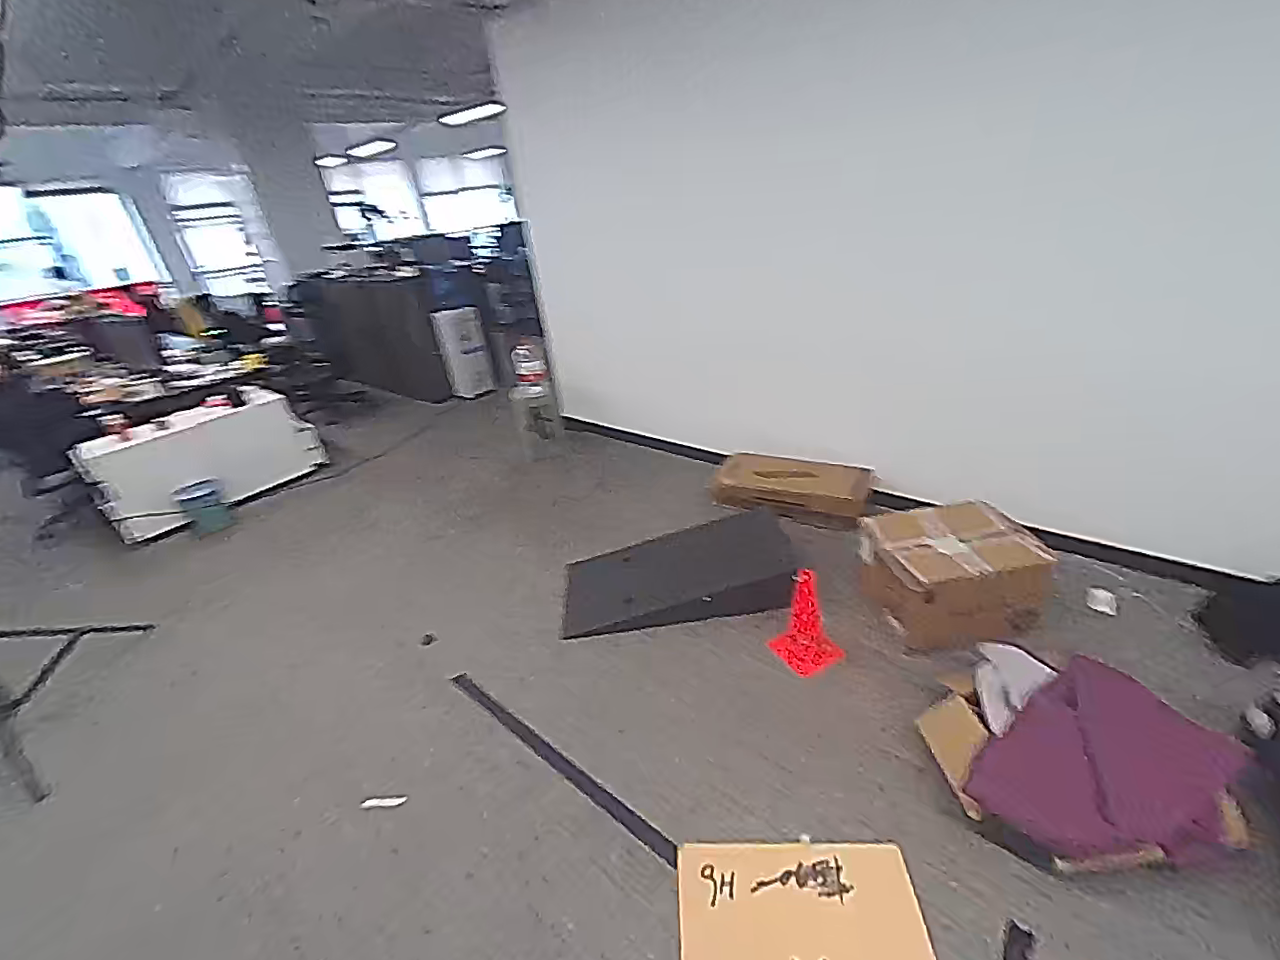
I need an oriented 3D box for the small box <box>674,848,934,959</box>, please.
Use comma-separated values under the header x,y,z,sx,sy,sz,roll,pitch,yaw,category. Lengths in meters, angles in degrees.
x,y,z,sx,sy,sz,roll,pitch,yaw,category
0.112,0.389,0.380,0.168,0.176,0.179,-3,38,1,small box
